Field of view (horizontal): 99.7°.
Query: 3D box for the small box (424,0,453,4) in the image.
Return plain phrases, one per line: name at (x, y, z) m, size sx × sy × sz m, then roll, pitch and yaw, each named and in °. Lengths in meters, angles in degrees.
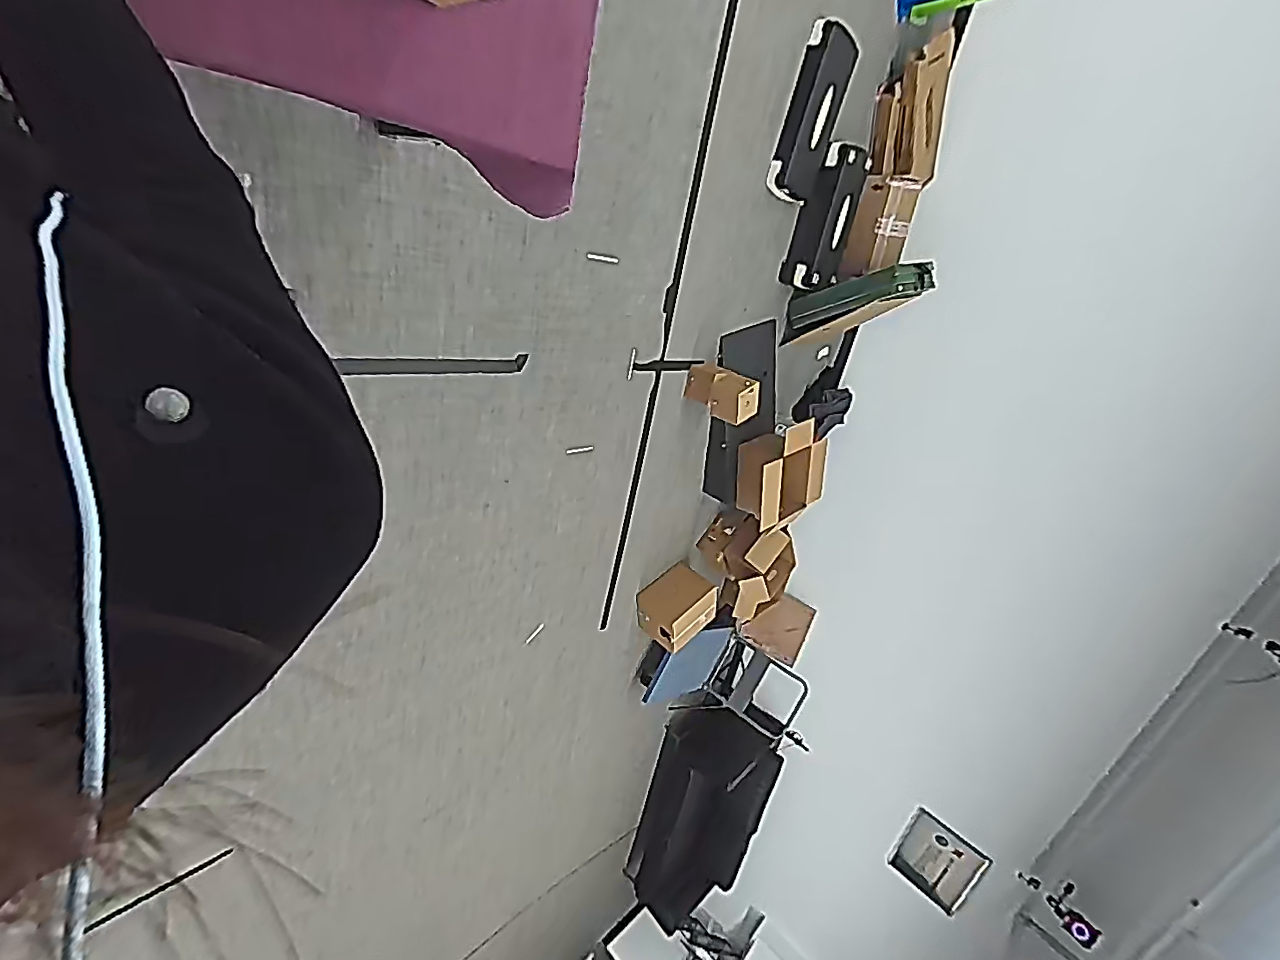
small box at (-0.264, -0.684, 0.613) m, size 0.168 × 0.176 × 0.179 m, roll -14°, pitch 125°, yaw -45°
